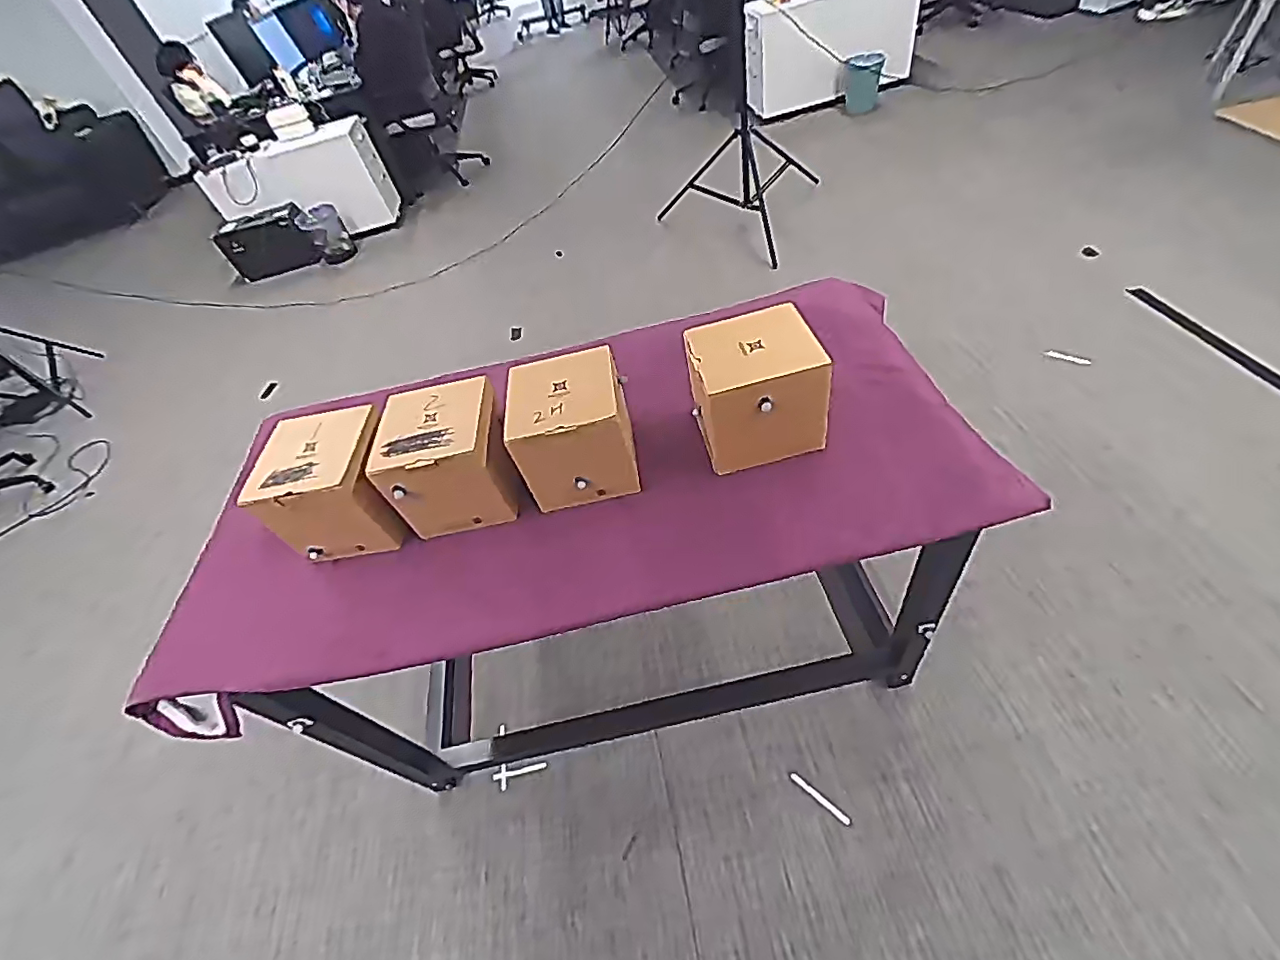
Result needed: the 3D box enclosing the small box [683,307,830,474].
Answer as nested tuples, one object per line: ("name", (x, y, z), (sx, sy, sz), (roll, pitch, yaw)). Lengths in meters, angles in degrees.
("small box", (0.177, -0.135, 0.844), (0.179, 0.176, 0.168), (-15, 47, 3))
